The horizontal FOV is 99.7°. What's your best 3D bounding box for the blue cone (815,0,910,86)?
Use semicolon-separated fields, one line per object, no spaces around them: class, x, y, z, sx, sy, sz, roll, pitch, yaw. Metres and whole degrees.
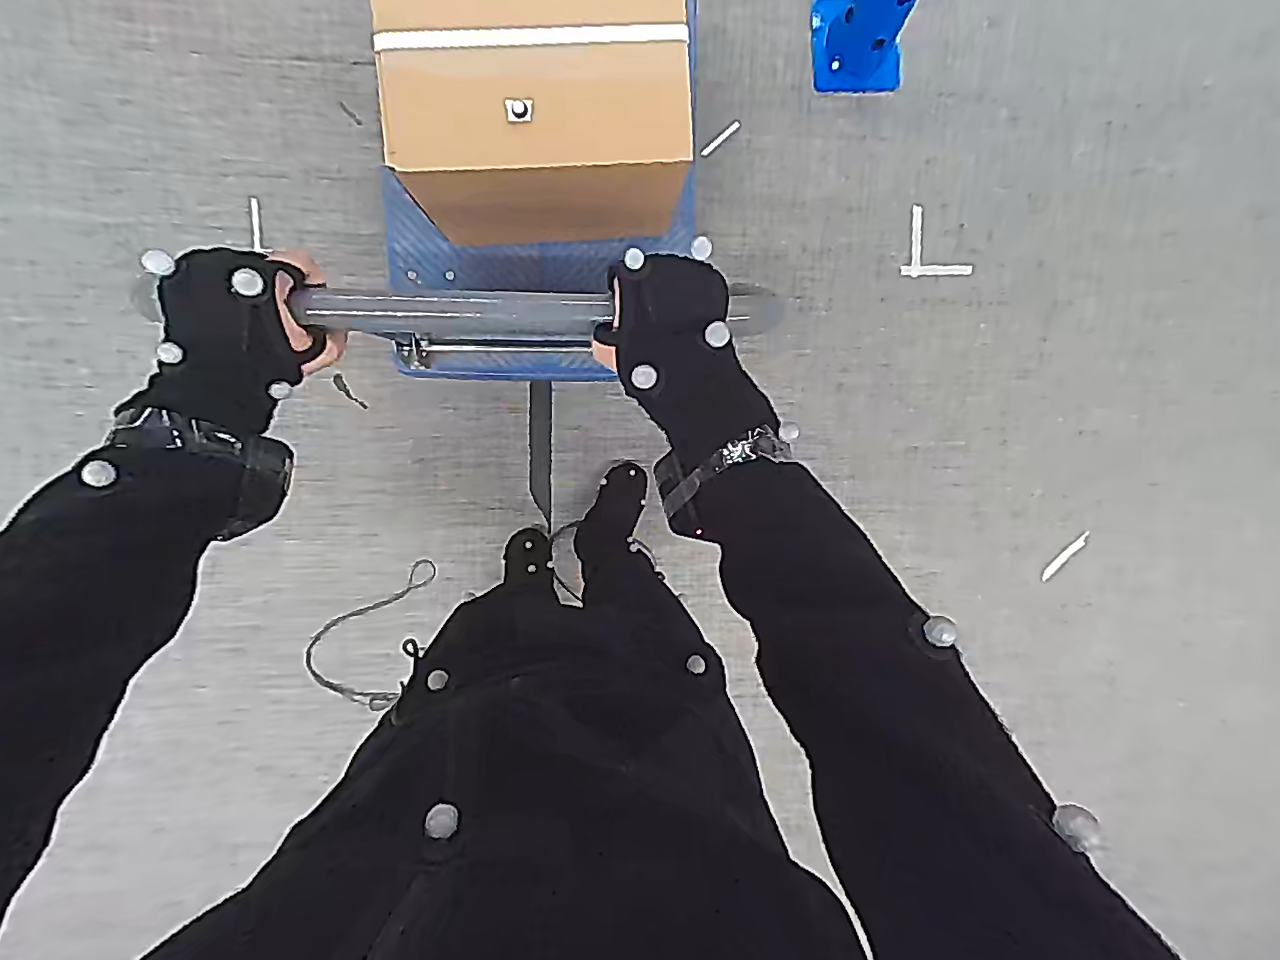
blue cone;0.496;-0.956;1.029;0.193;0.380;0.192;-4;95;-5
